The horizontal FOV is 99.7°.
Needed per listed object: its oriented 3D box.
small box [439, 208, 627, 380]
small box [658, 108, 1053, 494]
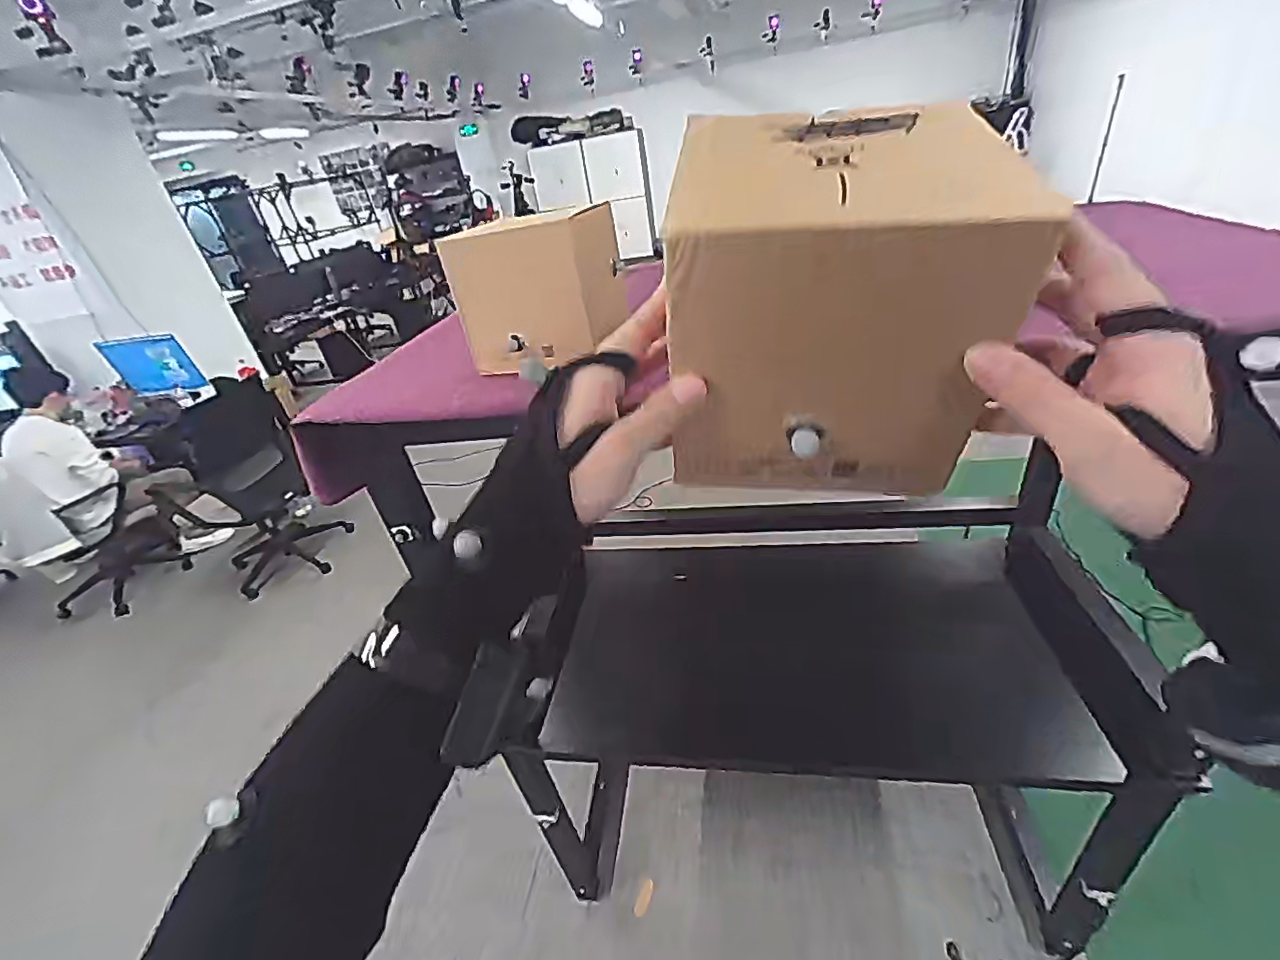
[{"bbox_3d":[-0.121,-0.240,0.700,0.168,0.176,0.179,-2,32,16],"label":"small box"},{"bbox_3d":[0.106,-0.113,0.345,0.168,0.176,0.179,2,47,9],"label":"small box"}]
